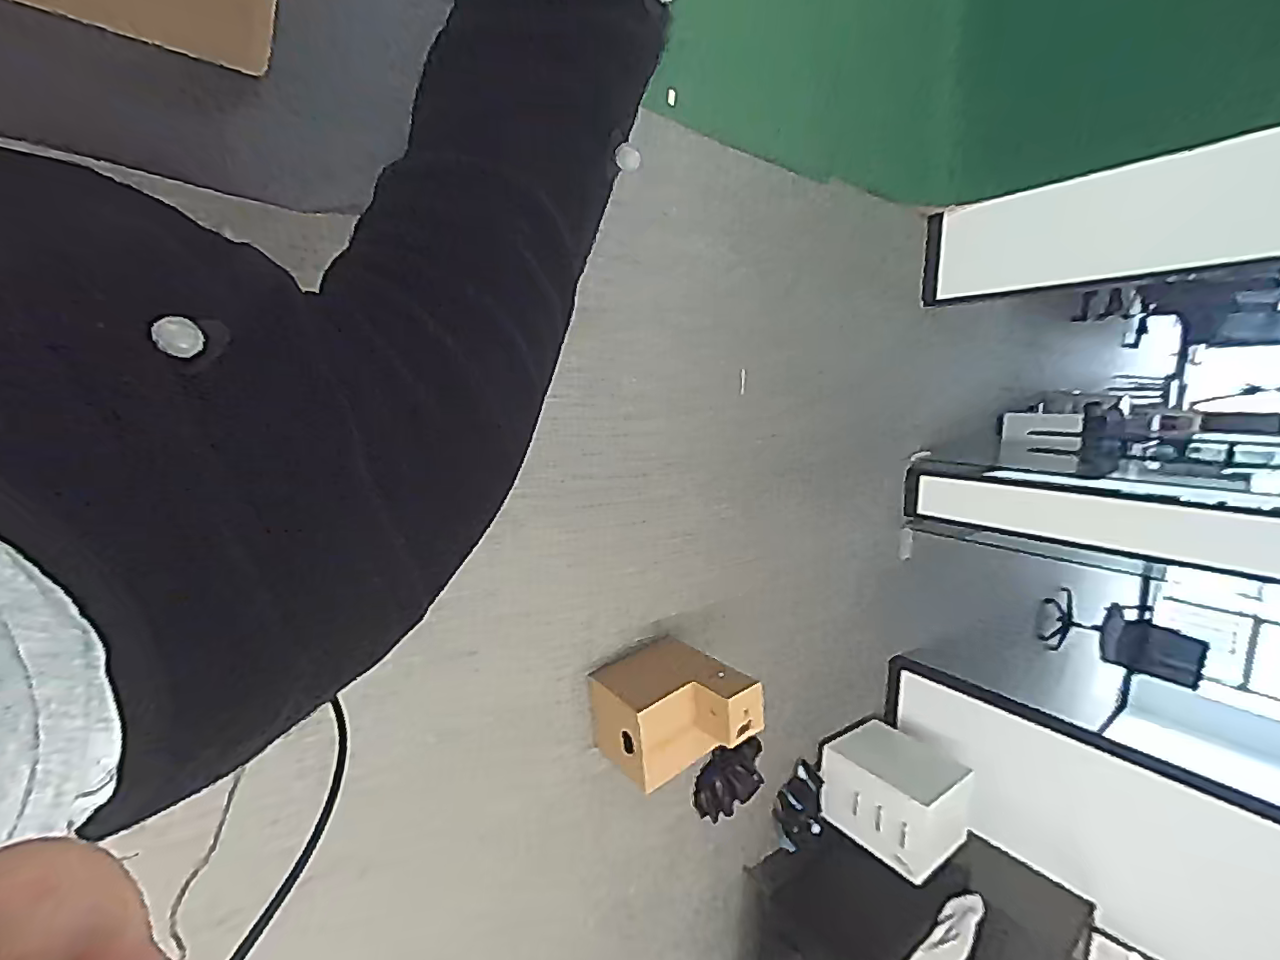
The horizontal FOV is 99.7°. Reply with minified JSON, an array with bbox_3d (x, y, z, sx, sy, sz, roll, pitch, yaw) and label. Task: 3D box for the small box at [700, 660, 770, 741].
[{"bbox_3d":[0.324,0.751,1.860,0.168,0.176,0.179,-12,100,-37],"label":"small box"}]
